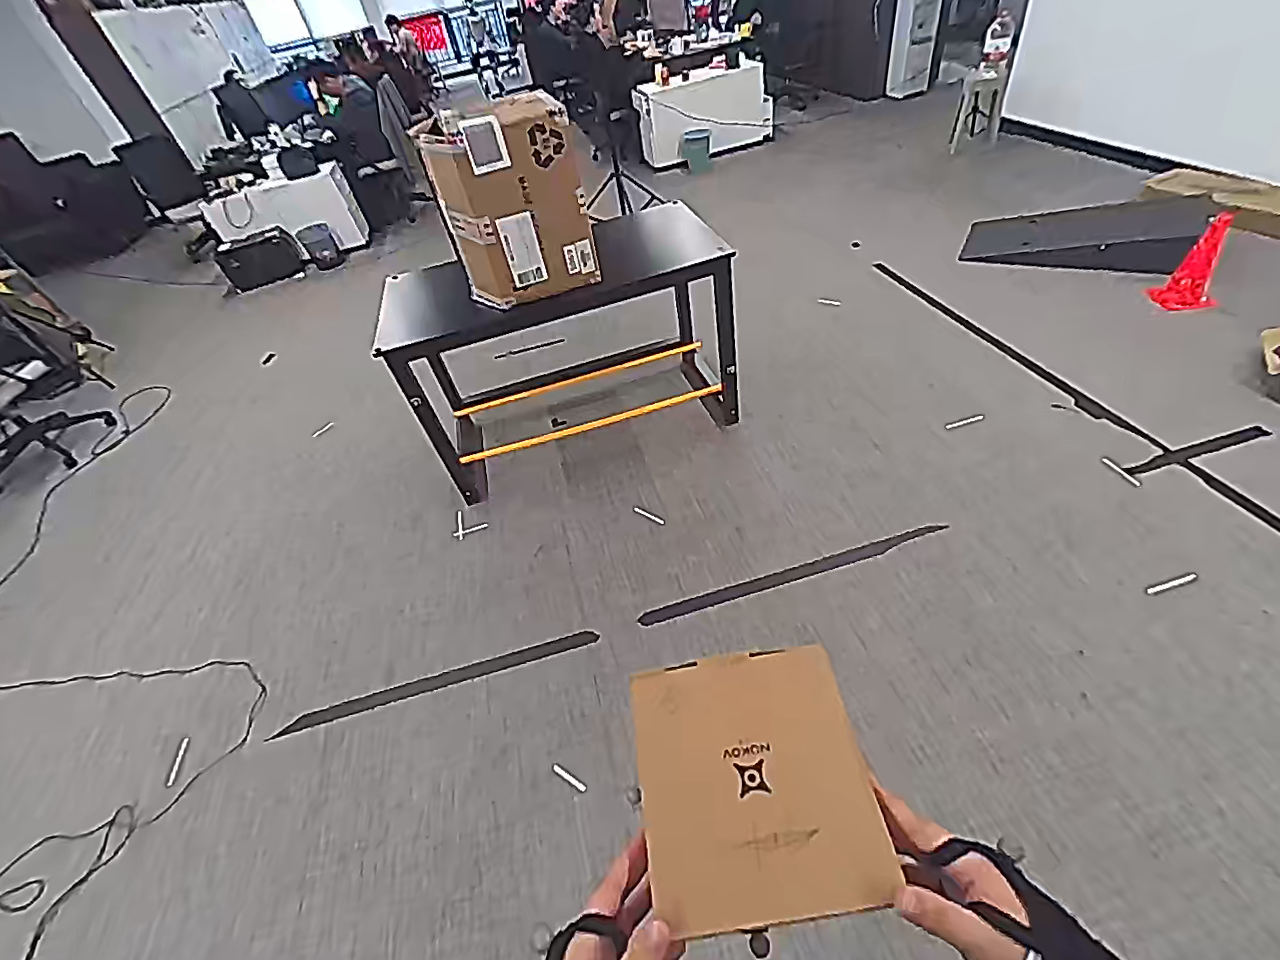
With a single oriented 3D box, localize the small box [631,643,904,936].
[{"bbox_3d":[0.088,0.265,0.460,0.168,0.176,0.179,-10,50,1],"label":"small box"}]
